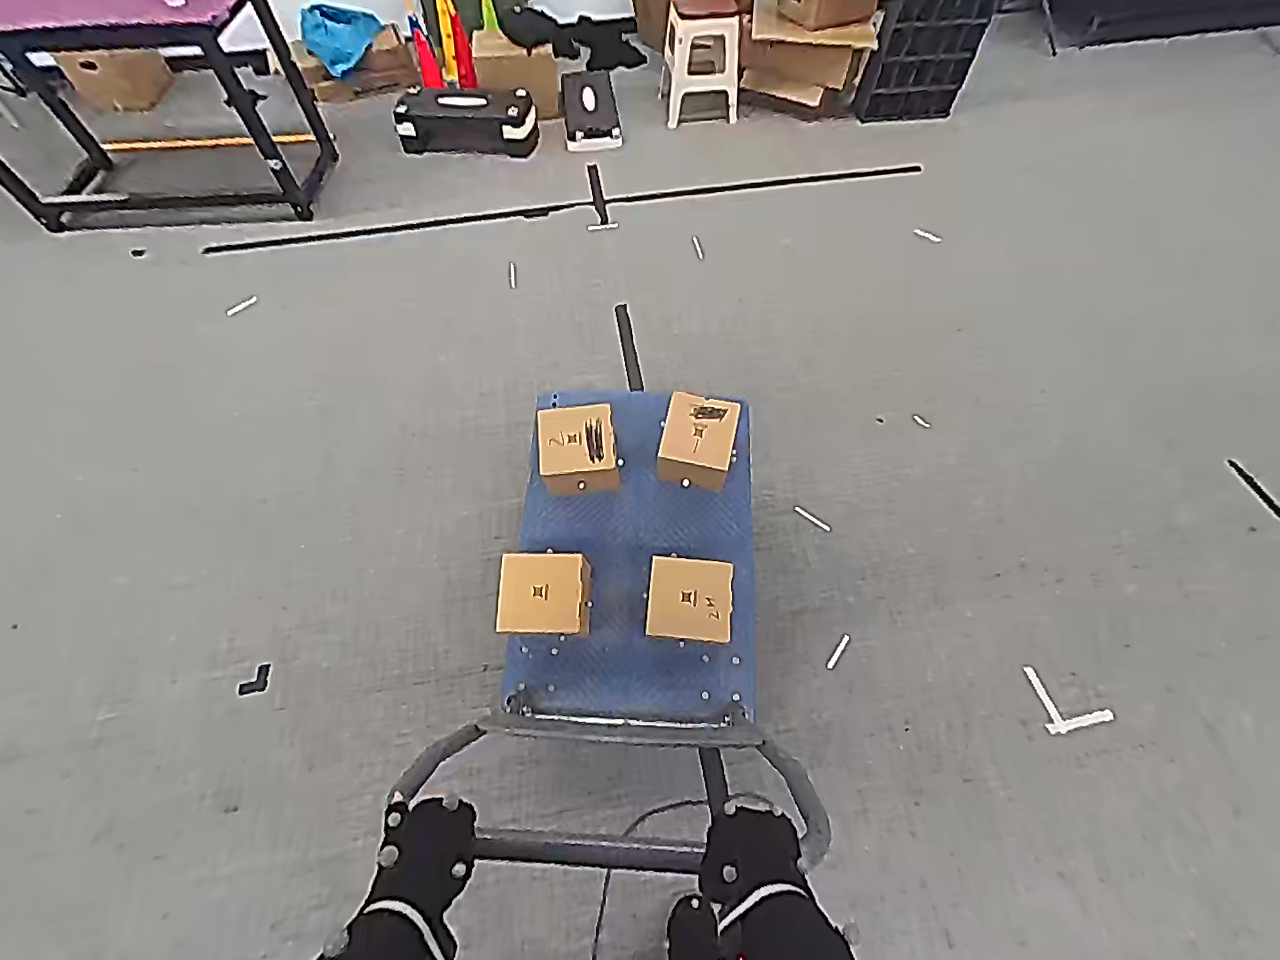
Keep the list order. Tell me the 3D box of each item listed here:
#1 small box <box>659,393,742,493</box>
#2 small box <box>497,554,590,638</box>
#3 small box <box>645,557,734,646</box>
[{"bbox_3d":[0.143,-0.087,1.331,0.168,0.176,0.179,13,72,5],"label":"small box"},{"bbox_3d":[-0.209,0.264,1.214,0.179,0.176,0.168,1,70,-1],"label":"small box"},{"bbox_3d":[0.108,0.276,1.203,0.179,0.176,0.168,5,71,3],"label":"small box"}]
